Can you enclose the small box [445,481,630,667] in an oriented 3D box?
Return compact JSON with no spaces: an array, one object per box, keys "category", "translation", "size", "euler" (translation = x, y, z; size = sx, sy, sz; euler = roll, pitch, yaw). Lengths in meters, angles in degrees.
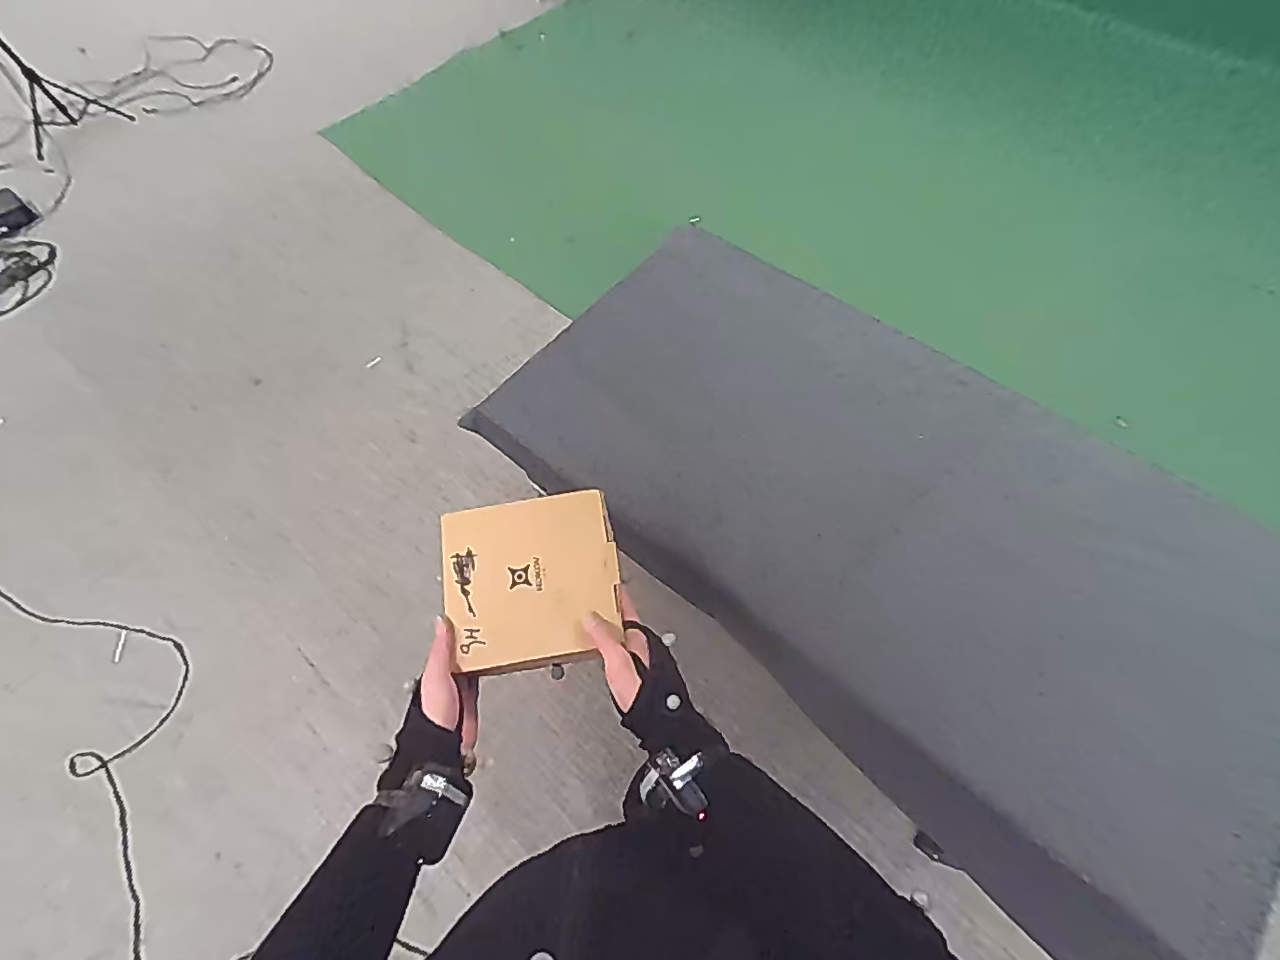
[{"category":"small box","translation":[-0.110,0.113,0.614],"size":[0.179,0.176,0.168],"euler":[-7,68,-5]}]
